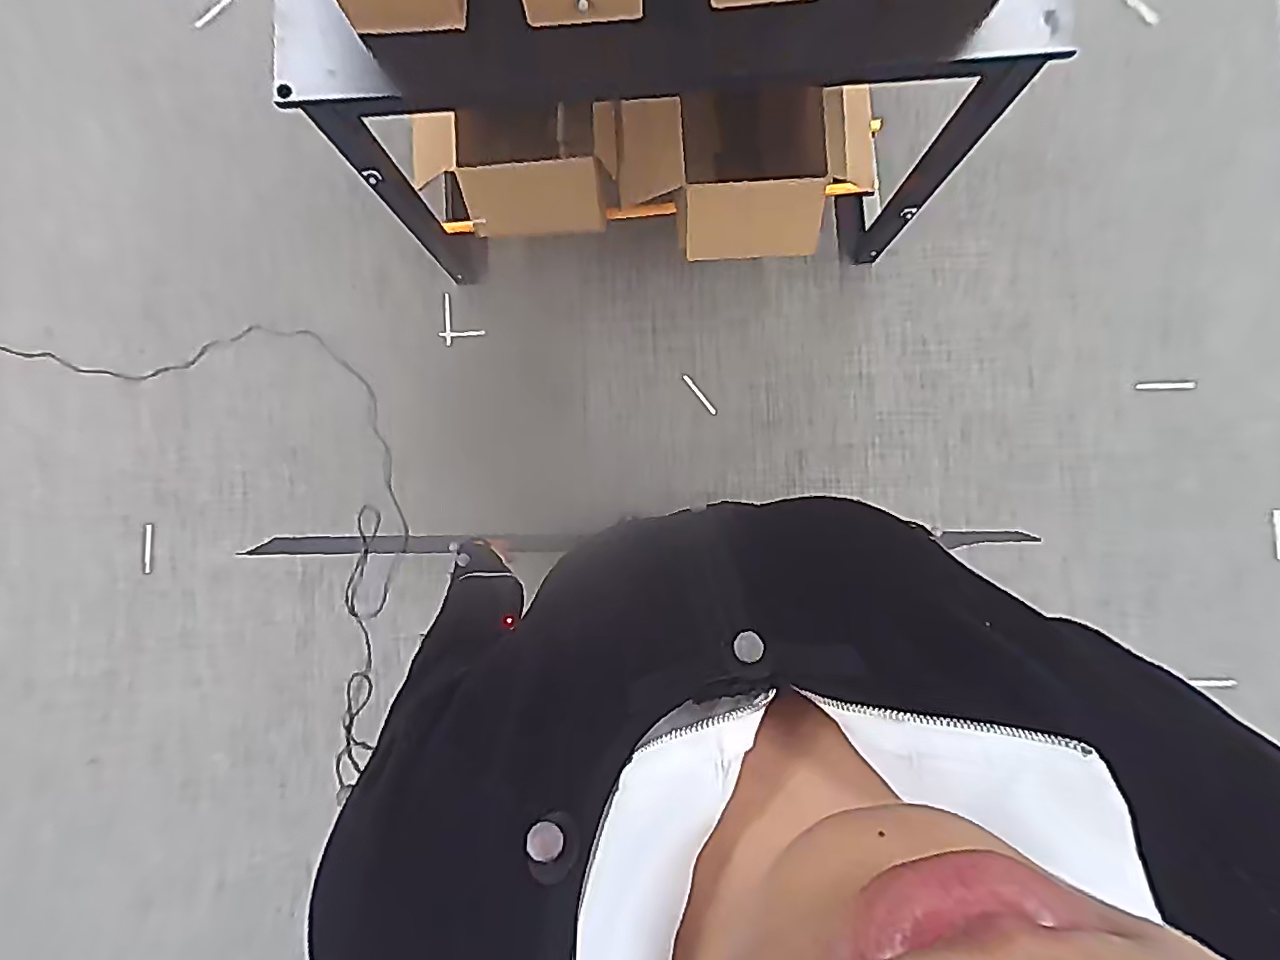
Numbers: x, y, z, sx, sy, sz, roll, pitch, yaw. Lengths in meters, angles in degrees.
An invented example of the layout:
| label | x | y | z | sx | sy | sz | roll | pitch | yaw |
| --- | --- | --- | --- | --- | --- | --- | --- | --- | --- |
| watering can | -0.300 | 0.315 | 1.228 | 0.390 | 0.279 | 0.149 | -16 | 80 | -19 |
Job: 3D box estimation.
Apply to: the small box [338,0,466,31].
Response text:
| label | x | y | z | sx | sy | sz | roll | pitch | yaw |
| --- | --- | --- | --- | --- | --- | --- | --- | --- | --- |
| small box | -0.354 | -0.767 | 0.748 | 0.179 | 0.176 | 0.168 | -2 | 88 | 0 |

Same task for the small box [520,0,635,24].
| label | x | y | z | sx | sy | sz | roll | pitch | yaw |
| --- | --- | --- | --- | --- | --- | --- | --- | --- | --- |
| small box | -0.091 | -0.776 | 0.740 | 0.179 | 0.176 | 0.168 | -4 | 86 | 1 |

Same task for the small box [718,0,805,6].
| label | x | y | z | sx | sy | sz | roll | pitch | yaw |
| --- | --- | --- | --- | --- | --- | --- | --- | --- | --- |
| small box | 0.179 | -0.805 | 0.734 | 0.168 | 0.176 | 0.179 | -4 | 87 | 2 |
